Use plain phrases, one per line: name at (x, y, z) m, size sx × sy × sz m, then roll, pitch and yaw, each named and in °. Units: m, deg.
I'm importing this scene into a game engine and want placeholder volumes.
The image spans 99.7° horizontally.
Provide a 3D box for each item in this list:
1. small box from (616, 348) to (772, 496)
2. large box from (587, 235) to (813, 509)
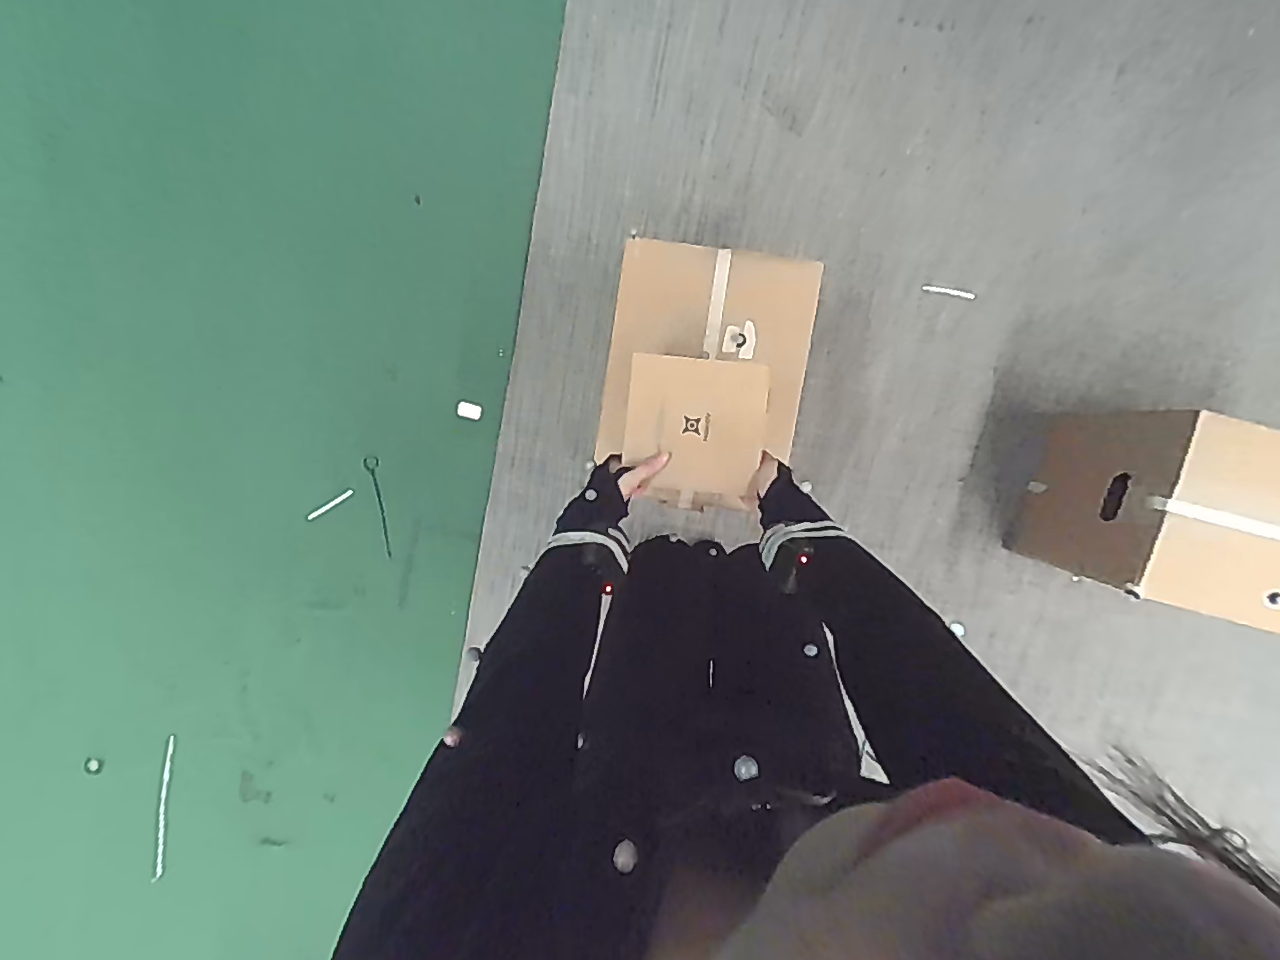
small box at (0.070, -0.078, 0.743) m, size 0.179 × 0.176 × 0.168 m, roll 7°, pitch 94°, yaw 3°
large box at (0.097, -0.178, 1.006) m, size 0.320 × 0.320 × 0.408 m, roll 9°, pitch 95°, yaw 0°
